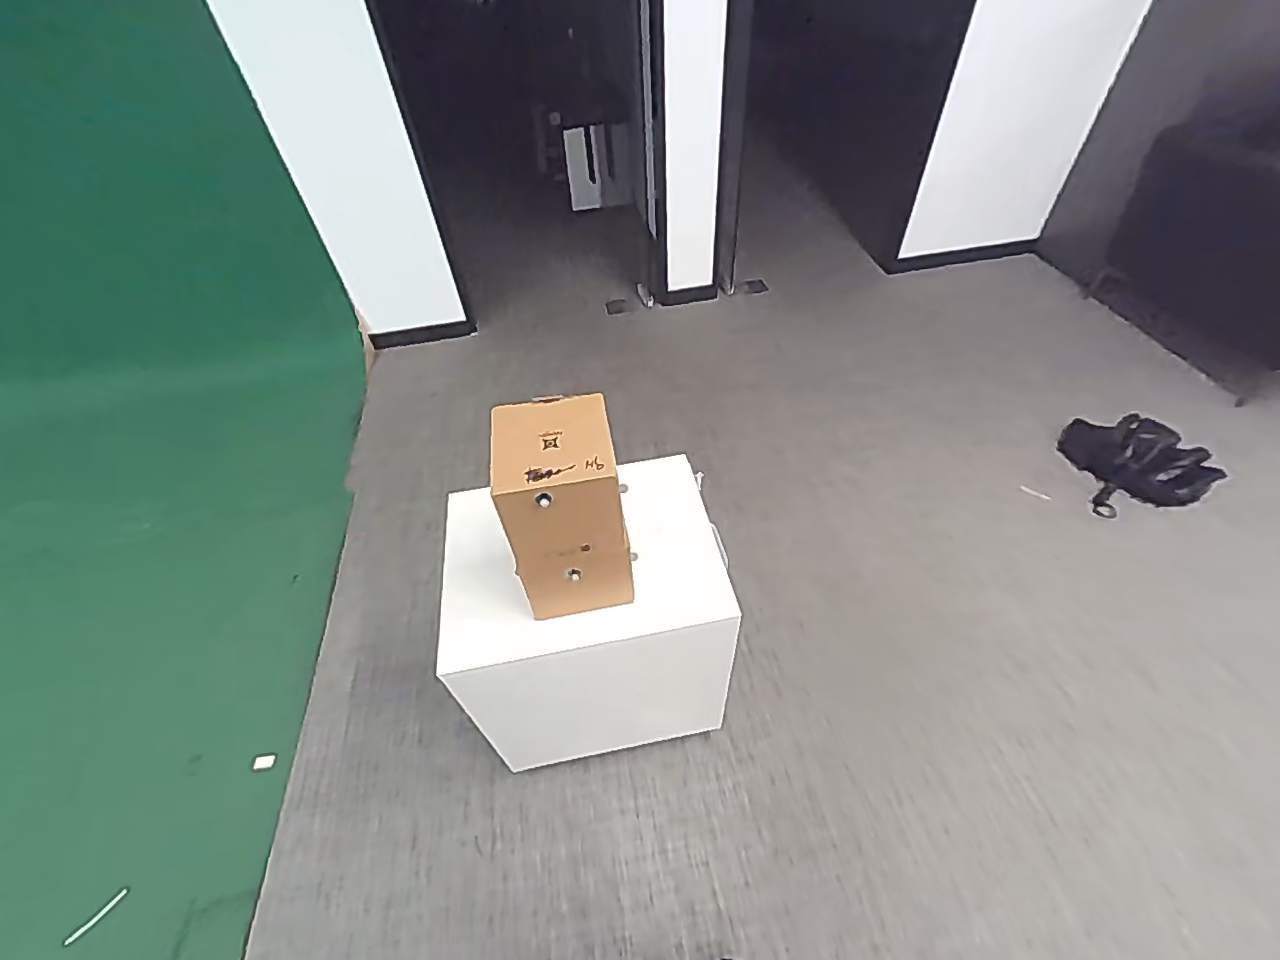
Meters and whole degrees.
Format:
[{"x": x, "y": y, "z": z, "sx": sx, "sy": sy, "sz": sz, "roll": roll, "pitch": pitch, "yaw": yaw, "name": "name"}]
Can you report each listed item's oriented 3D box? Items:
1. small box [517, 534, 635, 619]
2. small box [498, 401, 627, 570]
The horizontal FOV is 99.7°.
[{"x": -0.109, "y": 0.120, "z": 0.931, "sx": 0.179, "sy": 0.176, "sz": 0.168, "roll": -9, "pitch": 48, "yaw": -6, "name": "small box"}, {"x": -0.115, "y": 0.008, "z": 0.815, "sx": 0.168, "sy": 0.176, "sz": 0.179, "roll": -10, "pitch": 48, "yaw": -7, "name": "small box"}]
